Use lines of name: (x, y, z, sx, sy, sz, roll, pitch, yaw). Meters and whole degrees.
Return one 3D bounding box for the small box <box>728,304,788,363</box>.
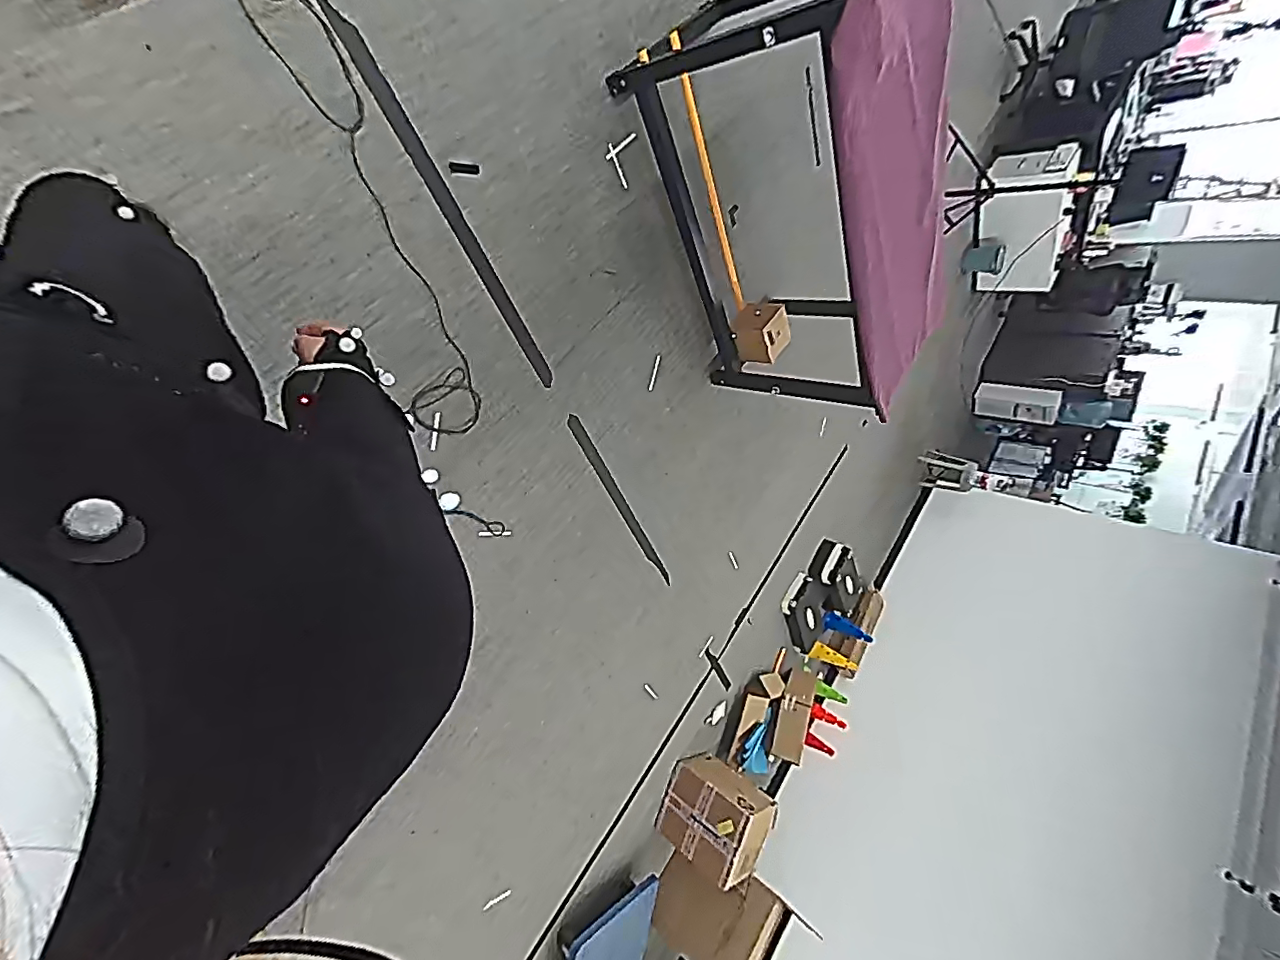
small box: (0.471, -0.596, 2.188, 0.179, 0.176, 0.168, -51, 136, -24)
